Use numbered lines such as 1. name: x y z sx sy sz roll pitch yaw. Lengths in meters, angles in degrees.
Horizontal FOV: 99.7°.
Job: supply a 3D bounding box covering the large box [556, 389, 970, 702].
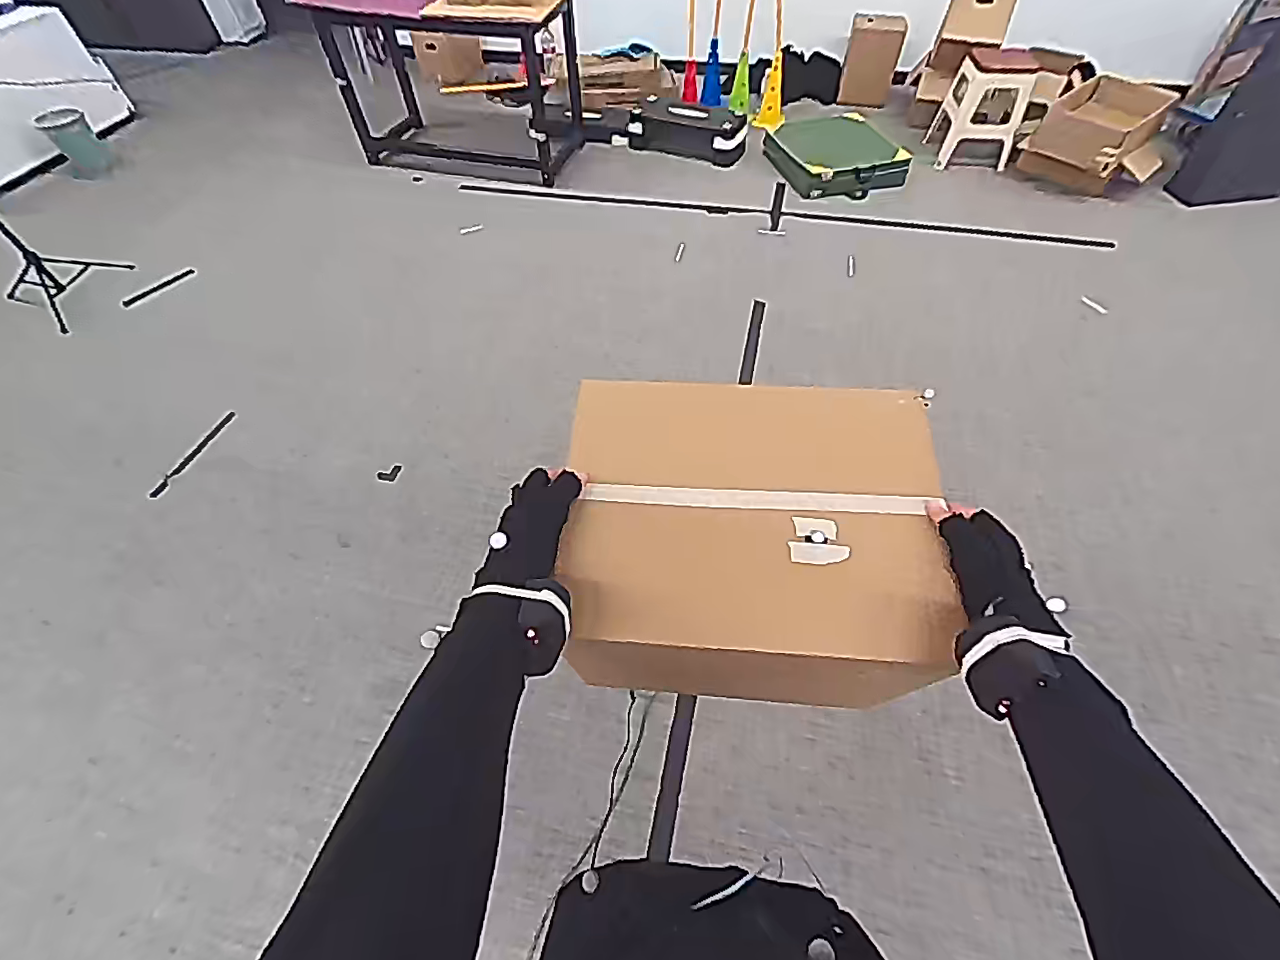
1. large box: 0.130 0.099 0.719 0.408 0.320 0.320 3 62 5
